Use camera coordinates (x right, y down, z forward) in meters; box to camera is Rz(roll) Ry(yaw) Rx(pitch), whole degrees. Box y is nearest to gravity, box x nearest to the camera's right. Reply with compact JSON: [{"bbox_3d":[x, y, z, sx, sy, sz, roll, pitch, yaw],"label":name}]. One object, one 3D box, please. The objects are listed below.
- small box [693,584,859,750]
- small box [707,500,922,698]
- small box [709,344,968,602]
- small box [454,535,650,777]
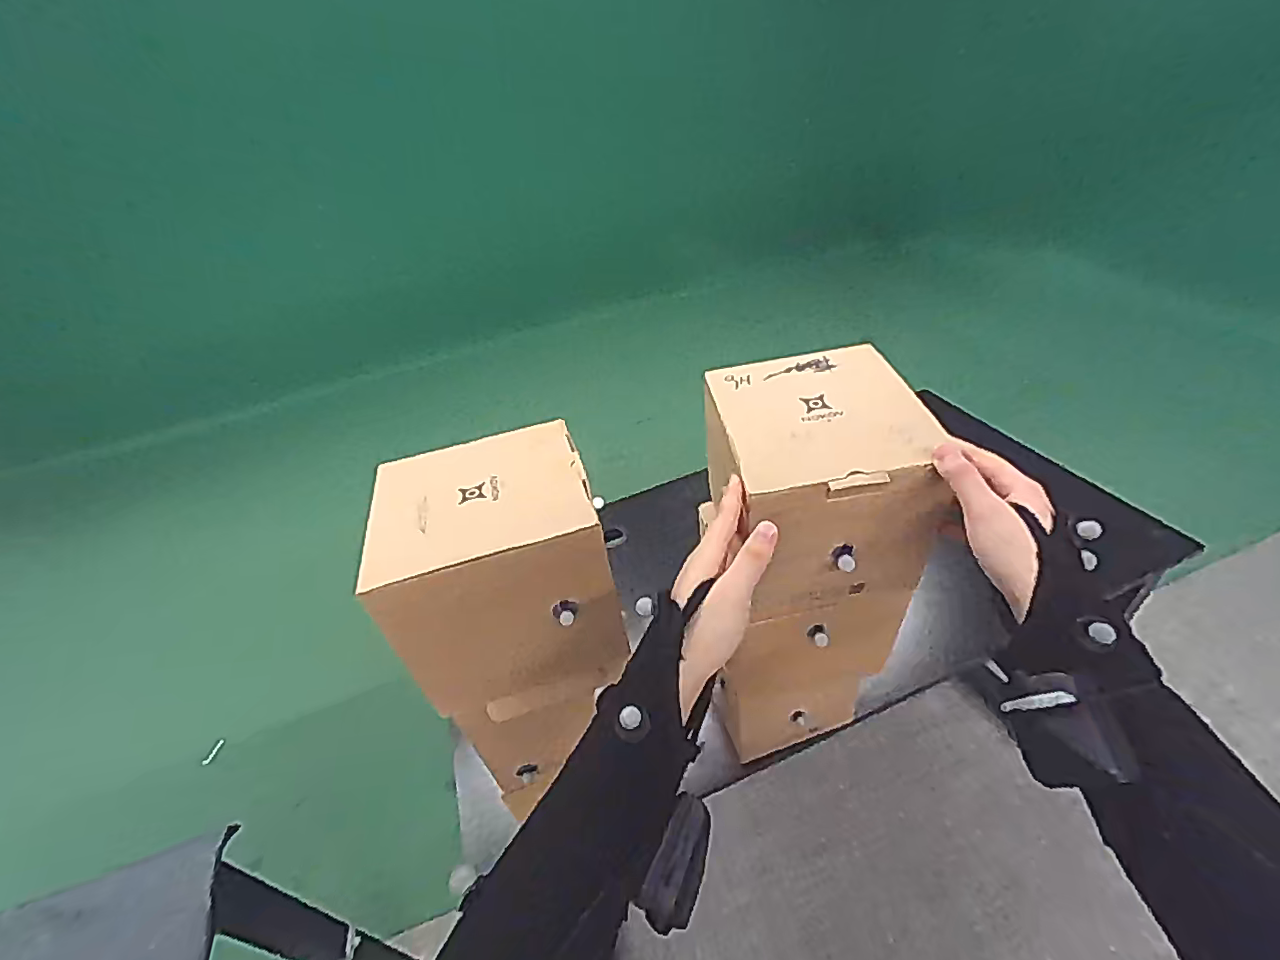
[{"bbox_3d":[0.184,0.241,0.740,0.168,0.176,0.179,-16,39,-8],"label":"small box"},{"bbox_3d":[0.181,0.124,0.620,0.179,0.176,0.168,-11,42,-2],"label":"small box"},{"bbox_3d":[0.166,0.000,0.514,0.168,0.176,0.179,-10,44,0],"label":"small box"},{"bbox_3d":[-0.095,0.196,0.596,0.168,0.176,0.179,-16,38,-9],"label":"small box"}]
